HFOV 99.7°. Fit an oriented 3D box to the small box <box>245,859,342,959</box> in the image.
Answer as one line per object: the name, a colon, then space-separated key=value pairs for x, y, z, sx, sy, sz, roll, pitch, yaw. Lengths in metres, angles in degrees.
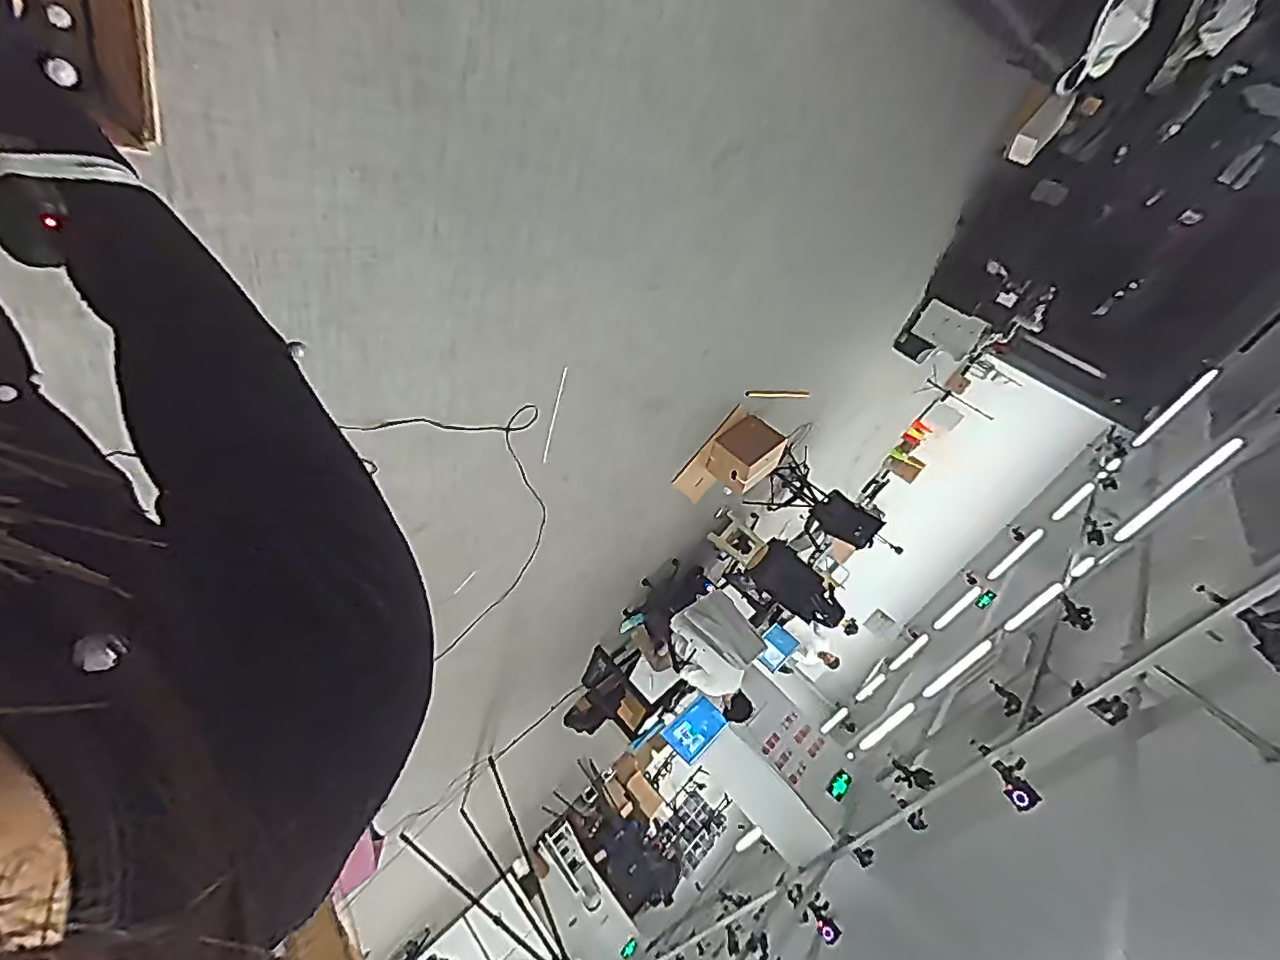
small box: x=-0.909 y=1.150 z=1.429 sx=0.168 sy=0.176 sz=0.179 roll=-26 pitch=149 yaw=-39

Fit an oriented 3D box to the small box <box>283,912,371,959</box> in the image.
small box: x=-0.795 y=1.248 z=1.369 sx=0.179 sy=0.176 sz=0.168 roll=-27 pitch=149 yaw=-37
